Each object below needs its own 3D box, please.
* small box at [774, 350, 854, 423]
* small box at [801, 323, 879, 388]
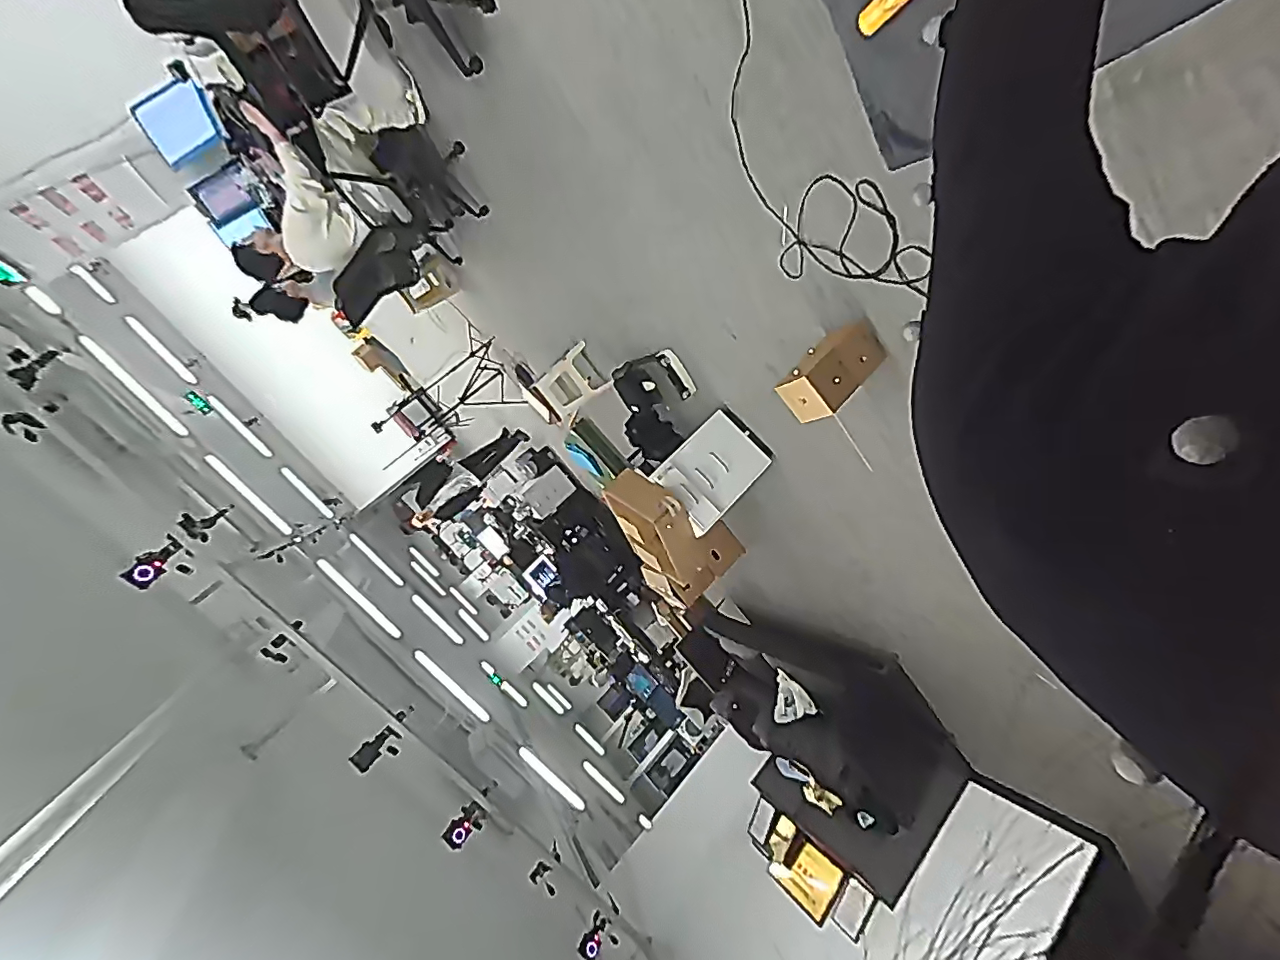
[{"bbox_3d":[0.608,-0.324,1.868,0.168,0.176,0.179,49,162,-10],"label":"small box"},{"bbox_3d":[0.720,-0.430,1.927,0.168,0.176,0.179,49,162,-12],"label":"small box"}]
